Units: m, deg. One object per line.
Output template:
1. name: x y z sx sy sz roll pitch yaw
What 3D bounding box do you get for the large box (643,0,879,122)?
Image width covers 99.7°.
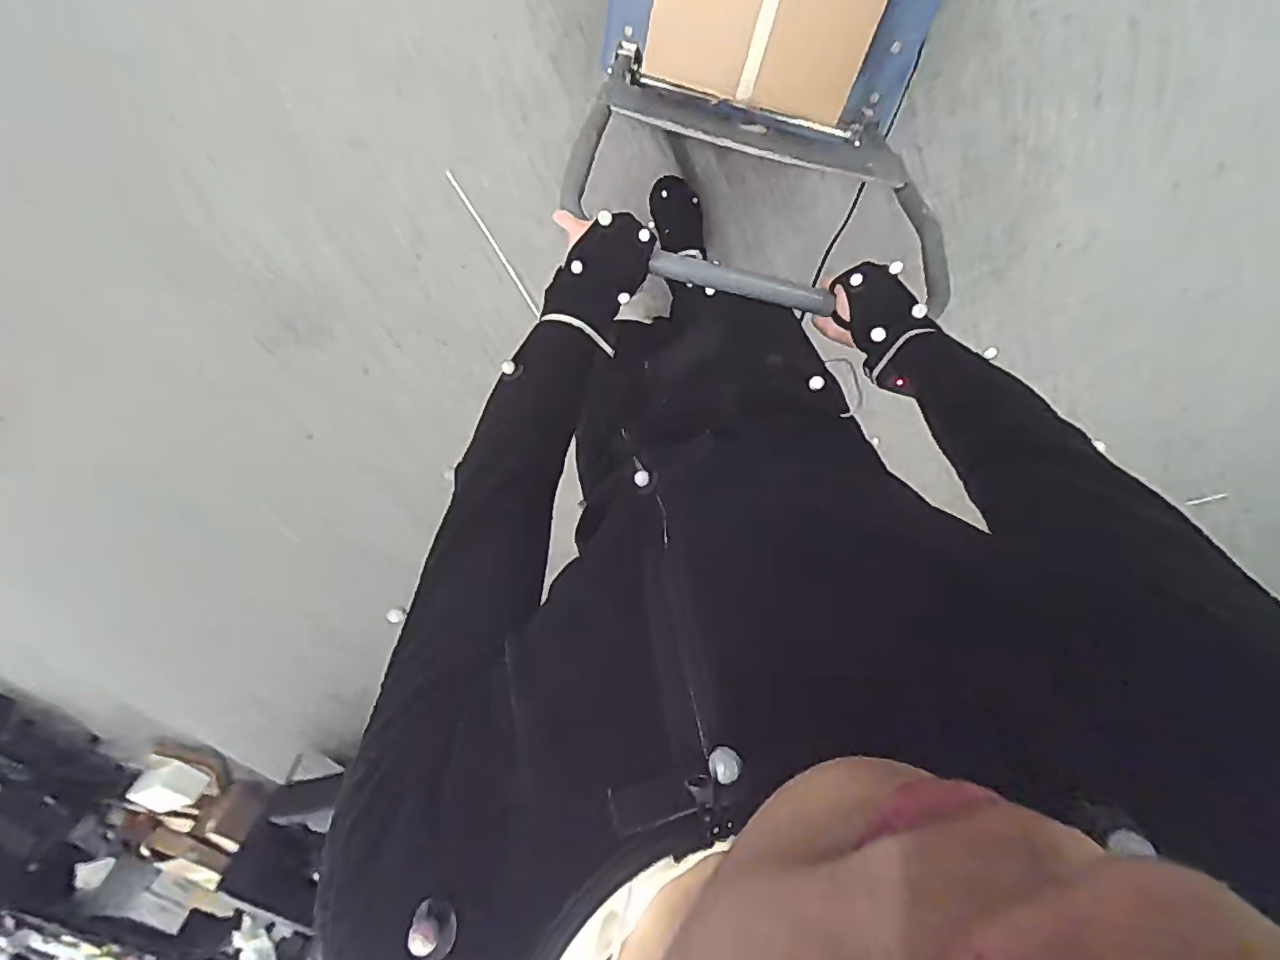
1. large box: 0.204 -0.830 0.813 0.320 0.320 0.408 12 133 -5
